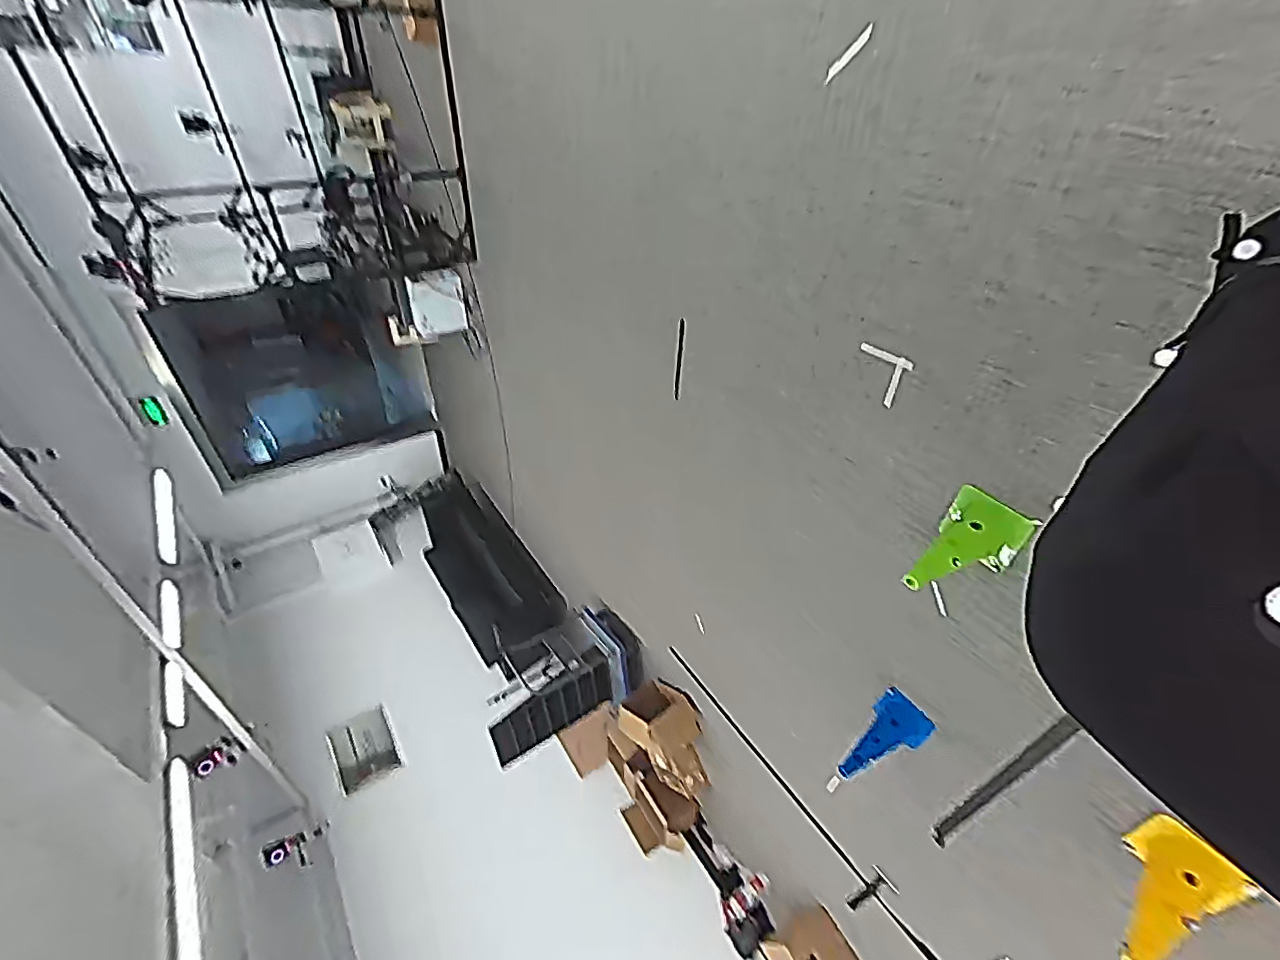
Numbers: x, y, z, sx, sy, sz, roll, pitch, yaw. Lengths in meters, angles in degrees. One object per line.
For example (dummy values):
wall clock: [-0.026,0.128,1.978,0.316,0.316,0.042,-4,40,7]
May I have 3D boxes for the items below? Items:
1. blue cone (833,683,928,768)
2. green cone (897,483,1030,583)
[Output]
blue cone: [0.851,0.938,1.973,0.192,0.380,0.193,48,146,35]
green cone: [0.821,0.185,1.446,0.202,0.368,0.200,45,145,38]
